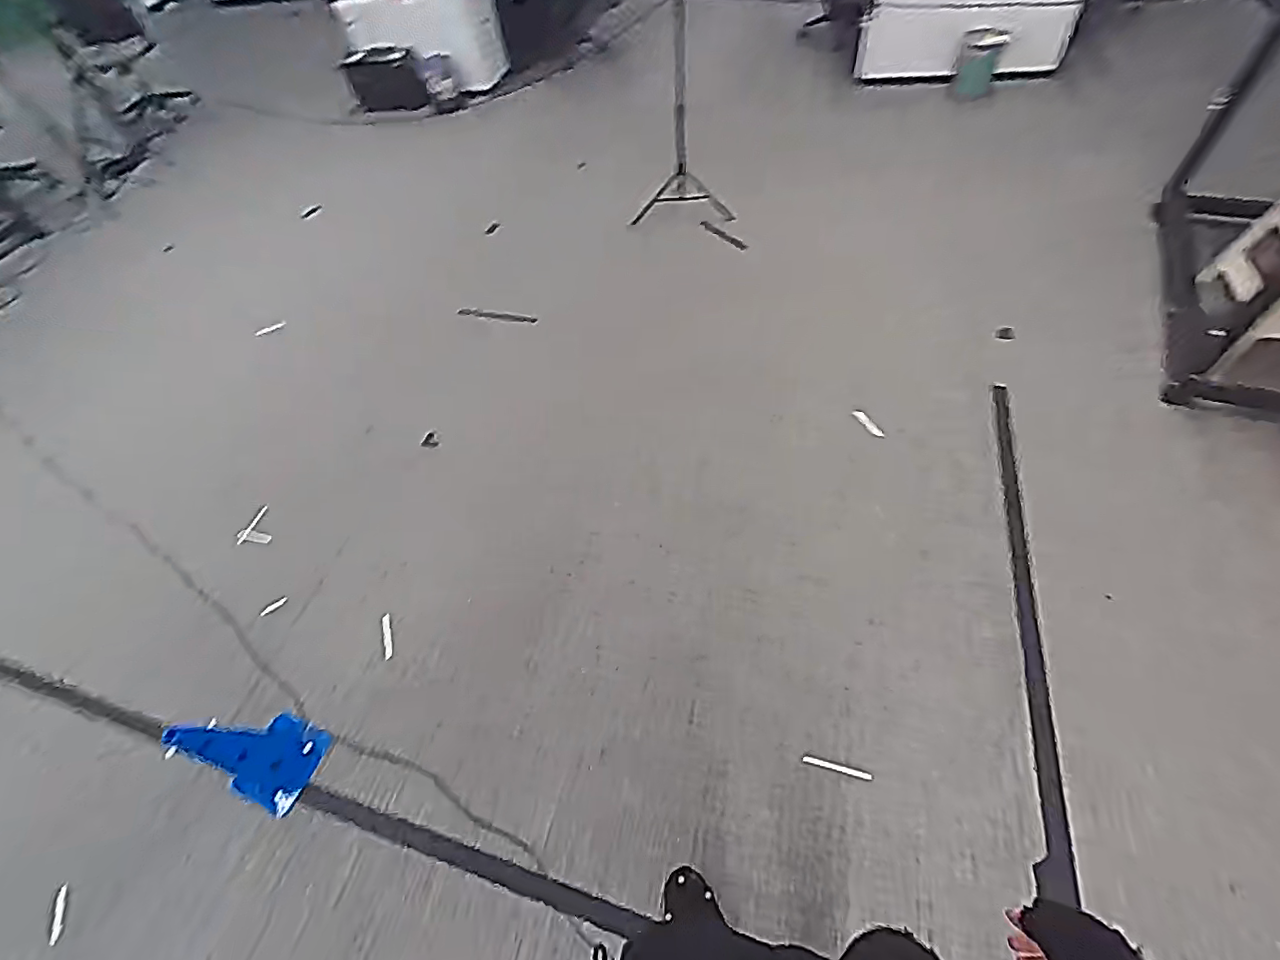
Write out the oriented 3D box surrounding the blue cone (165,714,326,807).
[{"bbox_3d":[-0.952,0.621,1.267,0.192,0.380,0.193,12,57,17],"label":"blue cone"}]
